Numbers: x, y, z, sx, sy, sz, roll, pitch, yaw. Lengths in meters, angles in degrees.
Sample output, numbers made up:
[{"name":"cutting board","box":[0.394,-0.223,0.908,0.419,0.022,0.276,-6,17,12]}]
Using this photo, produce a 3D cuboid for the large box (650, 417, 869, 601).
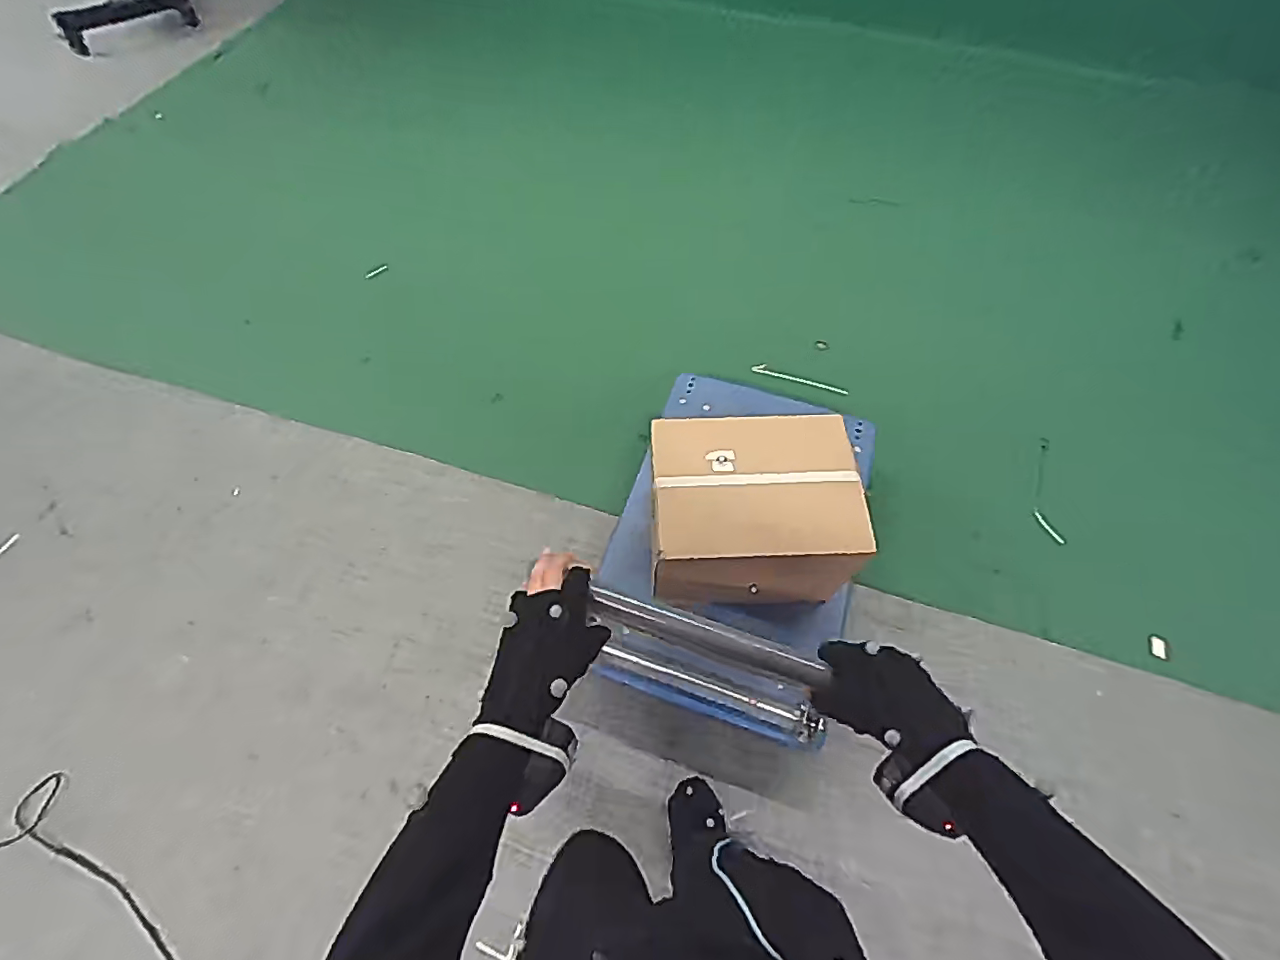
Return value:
[{"name":"large box","box":[0.228,0.076,1.197,0.408,0.320,0.320,-1,61,1]}]
